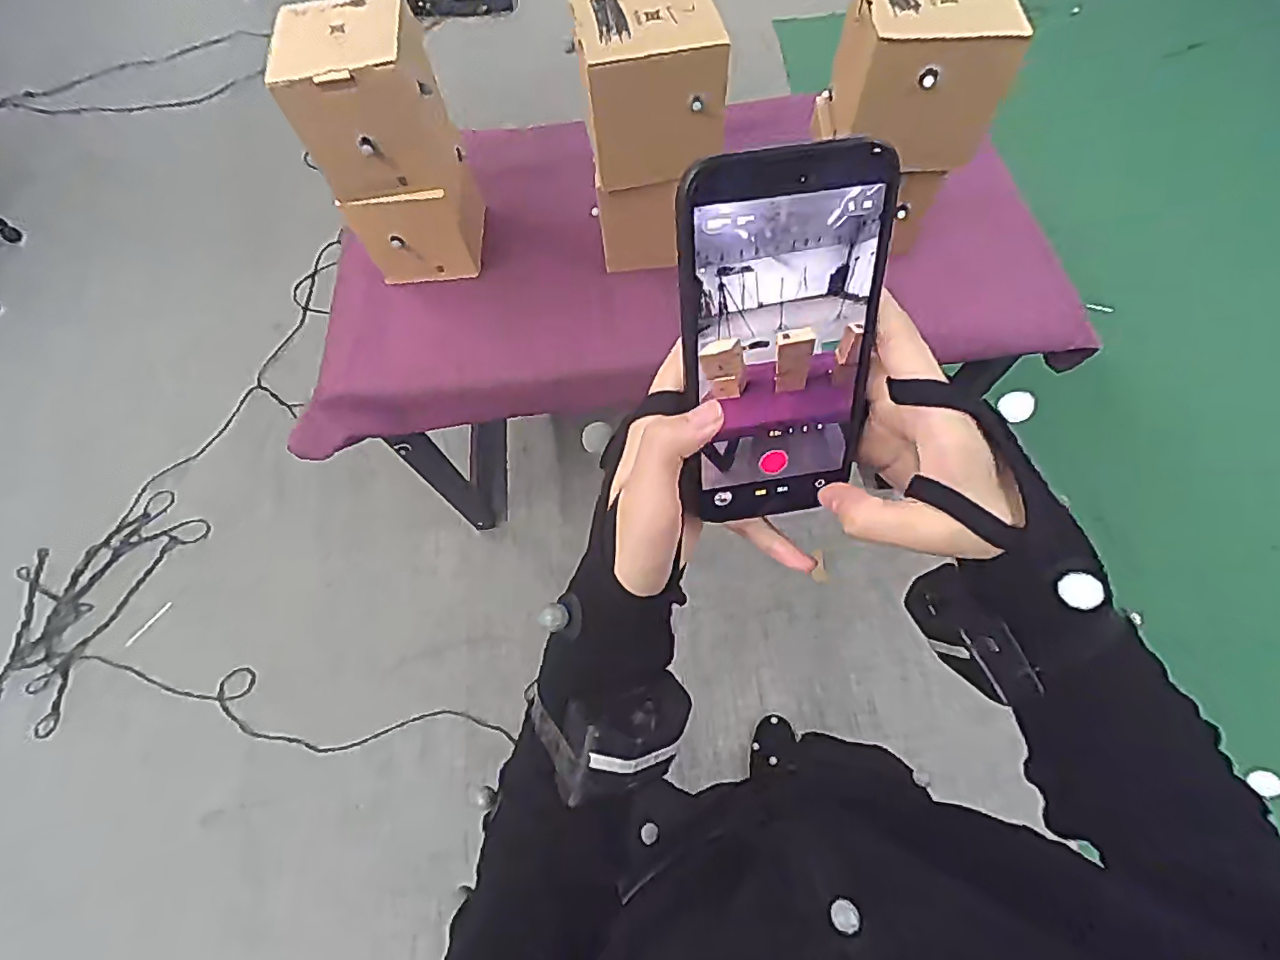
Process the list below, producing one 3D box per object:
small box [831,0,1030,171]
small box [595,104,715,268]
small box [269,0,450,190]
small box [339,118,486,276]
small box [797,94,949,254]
[{"bbox_3d":[0.362,-0.539,0.718,0.179,0.176,0.168,1,66,3],"label":"small box"},{"bbox_3d":[0.022,-0.475,0.889,0.179,0.176,0.168,-4,66,2],"label":"small box"},{"bbox_3d":[-0.378,-0.537,0.763,0.168,0.176,0.179,-8,67,-1],"label":"small box"},{"bbox_3d":[-0.368,-0.464,0.910,0.168,0.176,0.179,-4,66,2],"label":"small box"},{"bbox_3d":[0.362,-0.487,0.874,0.179,0.176,0.168,1,66,5],"label":"small box"}]
